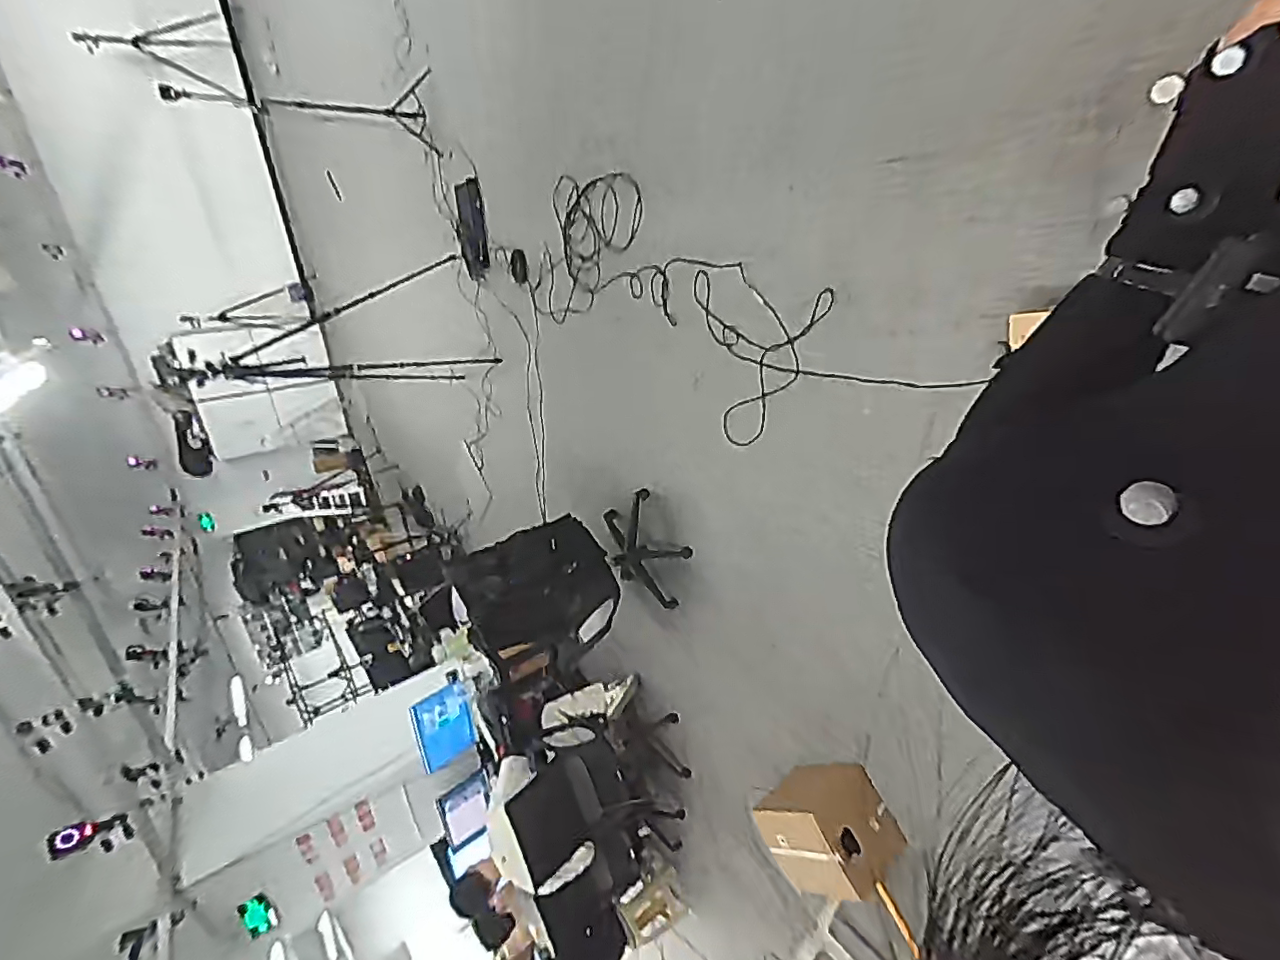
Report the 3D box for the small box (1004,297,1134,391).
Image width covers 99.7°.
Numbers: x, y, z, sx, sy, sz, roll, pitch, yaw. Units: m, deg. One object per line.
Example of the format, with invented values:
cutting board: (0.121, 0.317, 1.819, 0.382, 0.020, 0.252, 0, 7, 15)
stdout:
small box: (0.905, -0.287, 1.141, 0.179, 0.176, 0.168, 14, 118, 51)
